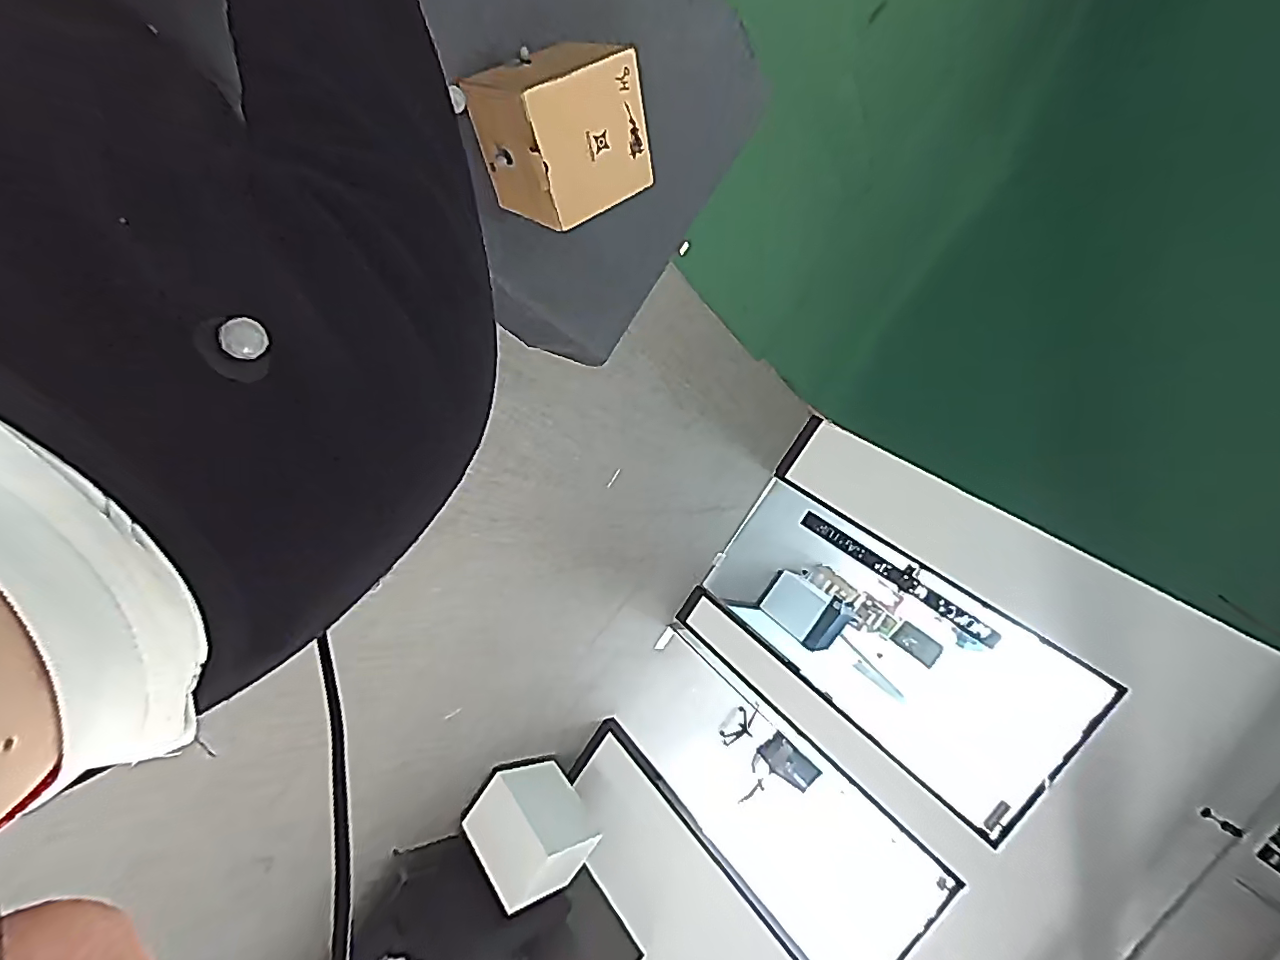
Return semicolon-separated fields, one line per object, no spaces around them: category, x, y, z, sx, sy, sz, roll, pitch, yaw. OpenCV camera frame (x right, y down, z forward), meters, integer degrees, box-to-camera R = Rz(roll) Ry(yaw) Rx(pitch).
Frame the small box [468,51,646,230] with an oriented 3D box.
small box;-0.119;-0.483;0.763;0.179;0.176;0.168;-36;142;-20
